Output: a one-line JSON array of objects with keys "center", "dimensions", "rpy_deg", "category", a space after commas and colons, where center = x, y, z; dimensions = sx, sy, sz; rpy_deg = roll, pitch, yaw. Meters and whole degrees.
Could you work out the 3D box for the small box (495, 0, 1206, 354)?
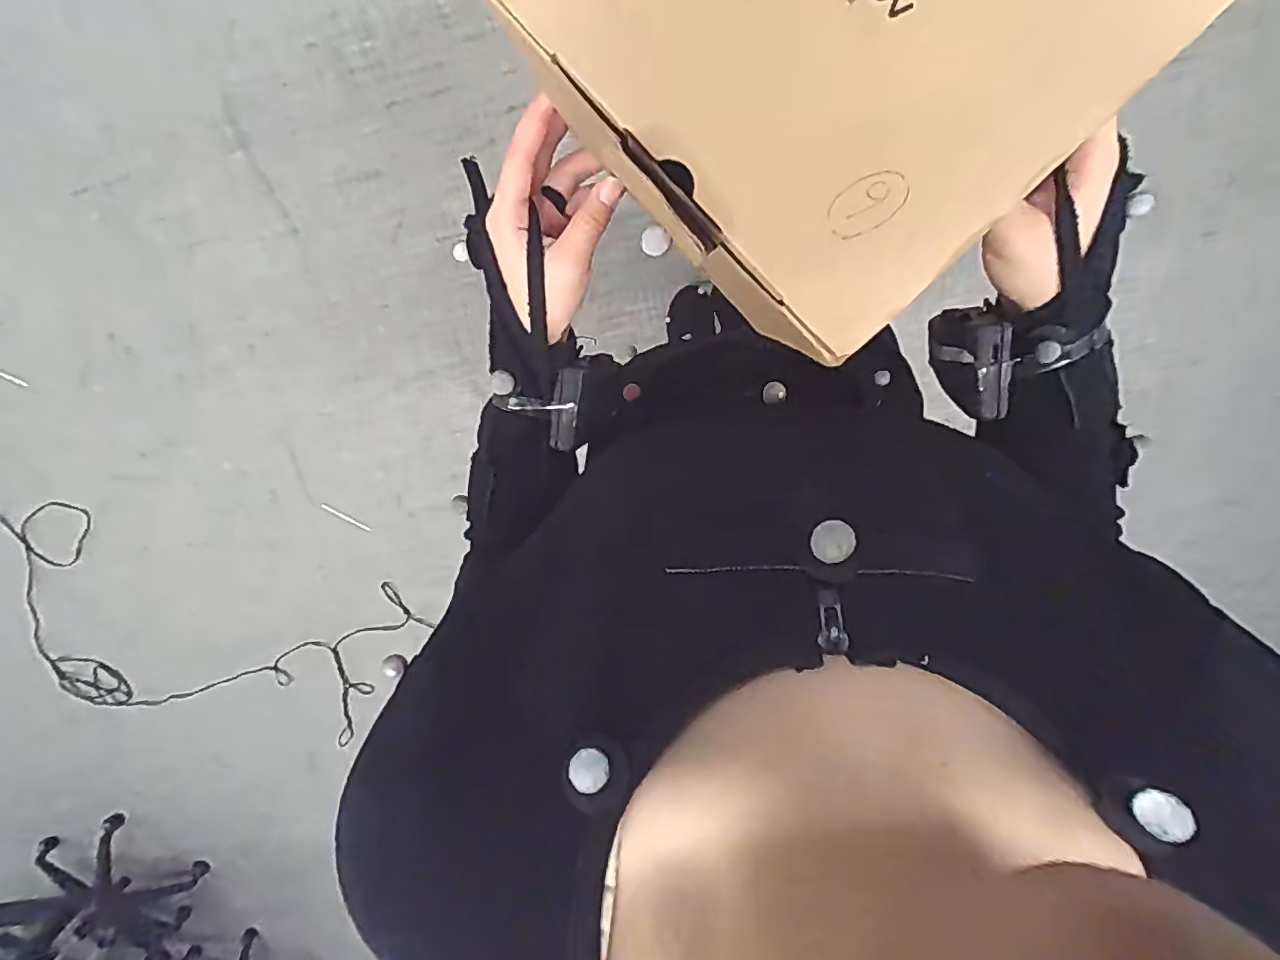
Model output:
[{"center": [0.074, -0.182, 0.240], "dimensions": [0.168, 0.176, 0.179], "rpy_deg": [42, 107, -11], "category": "small box"}]
